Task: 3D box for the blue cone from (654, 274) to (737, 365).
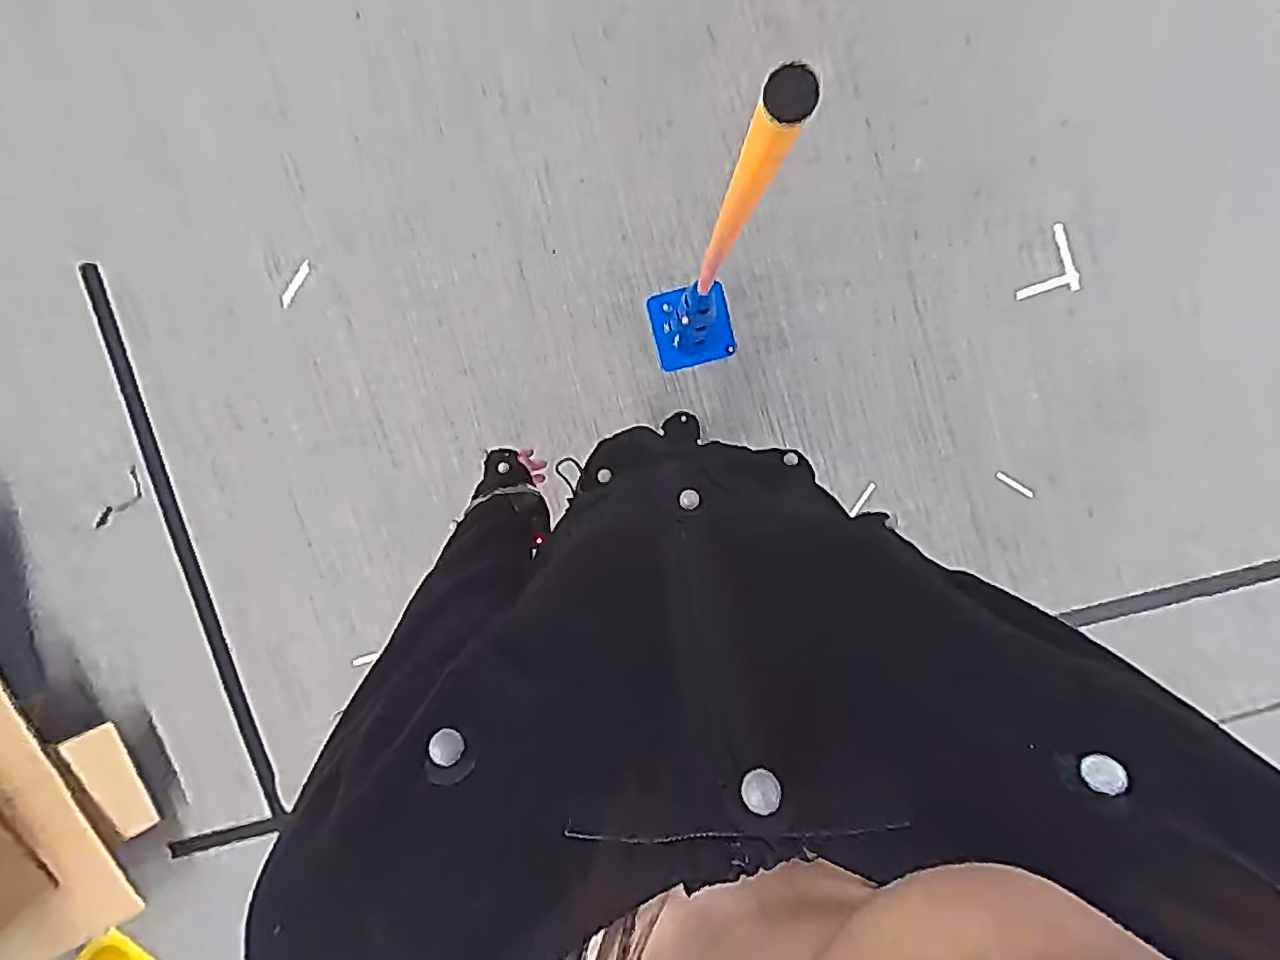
[{"bbox_3d":[0.136,-0.389,1.224,0.192,0.380,0.193,-13,94,2],"label":"blue cone"}]
